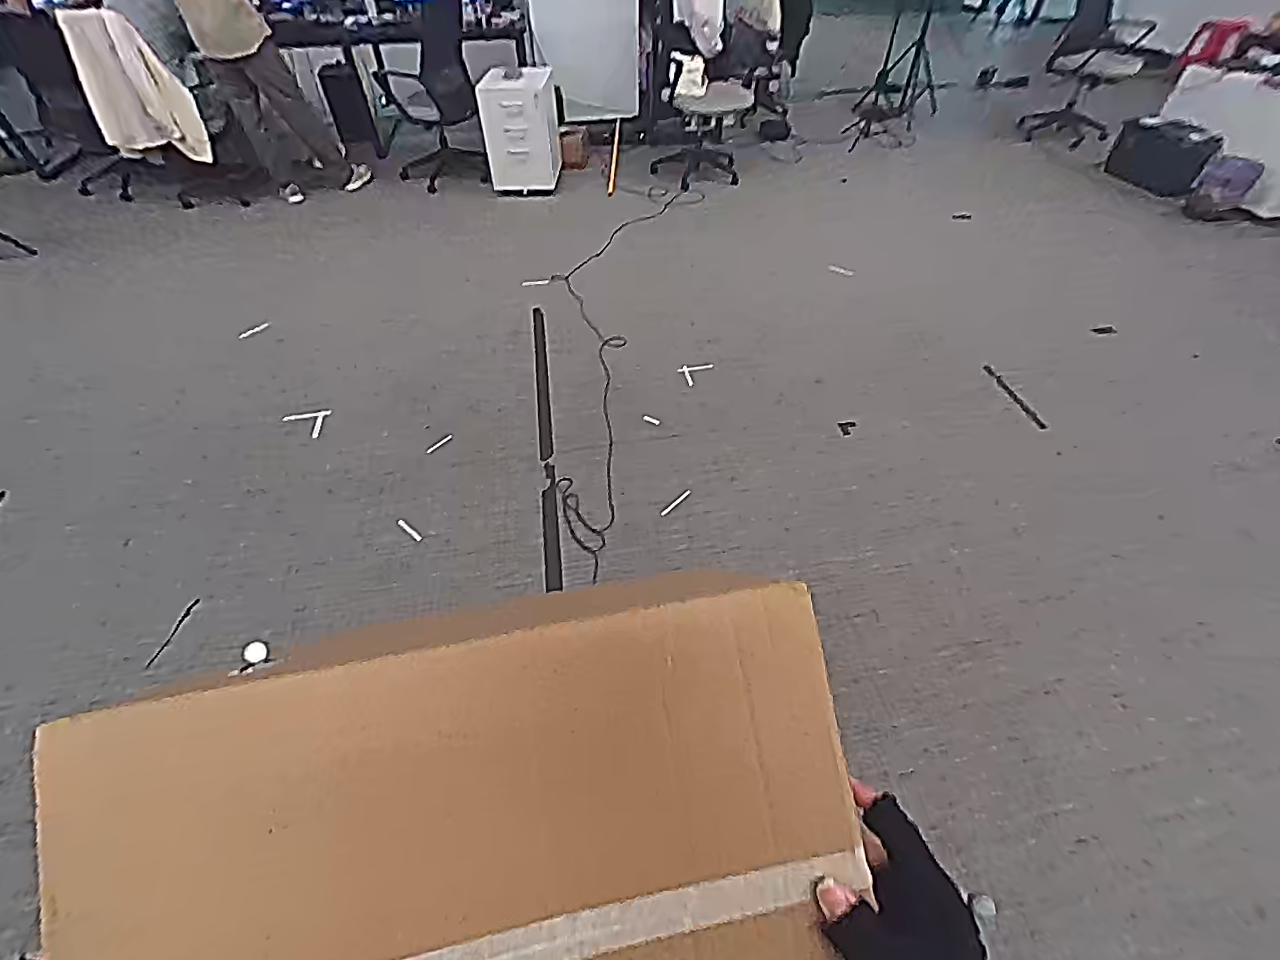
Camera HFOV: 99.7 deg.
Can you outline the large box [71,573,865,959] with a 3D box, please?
[{"bbox_3d":[-0.092,0.267,0.433,0.408,0.320,0.320,-10,84,-6],"label":"large box"}]
